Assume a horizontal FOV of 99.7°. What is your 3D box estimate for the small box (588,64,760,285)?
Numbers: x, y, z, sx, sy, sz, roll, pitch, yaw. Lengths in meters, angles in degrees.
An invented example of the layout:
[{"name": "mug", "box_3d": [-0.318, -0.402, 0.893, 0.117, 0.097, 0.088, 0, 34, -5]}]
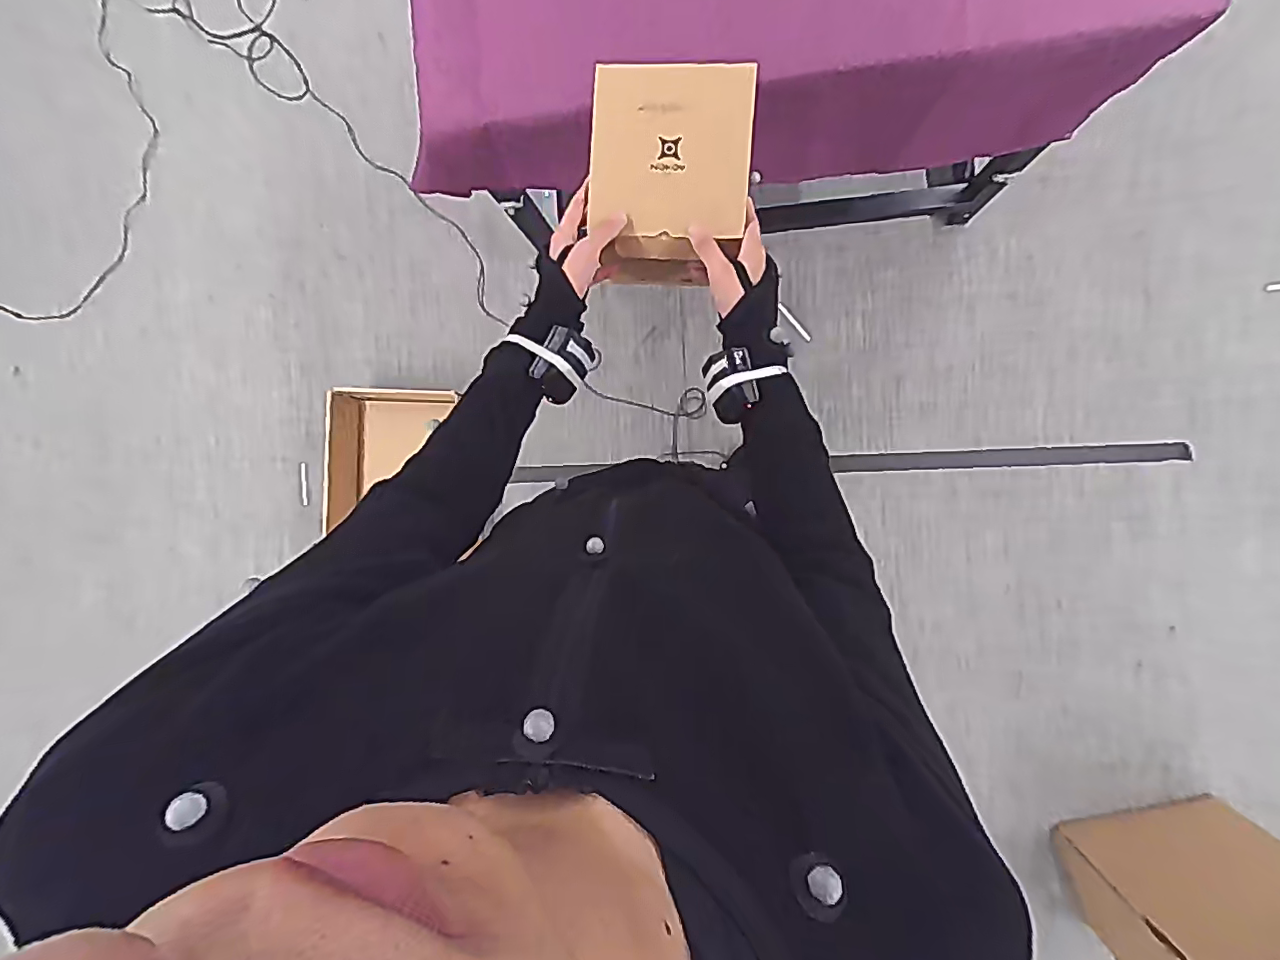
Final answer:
[{"name": "small box", "box_3d": [0.042, -0.337, 0.629, 0.168, 0.176, 0.179, 5, 94, 6]}]
